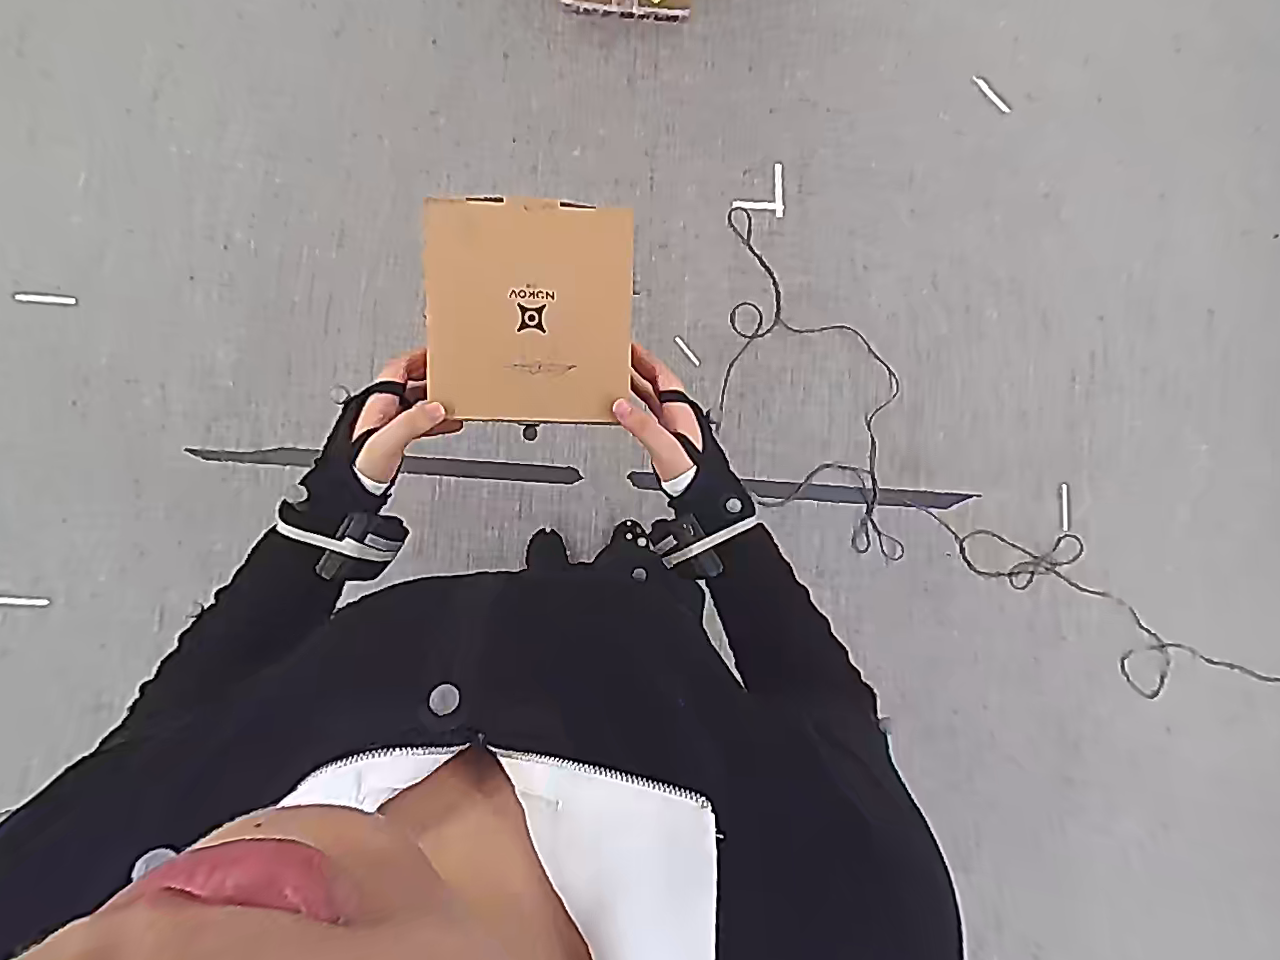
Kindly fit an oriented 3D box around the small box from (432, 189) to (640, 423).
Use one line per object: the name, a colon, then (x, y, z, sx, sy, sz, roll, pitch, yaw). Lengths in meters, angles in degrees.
small box: (-0.093, -0.147, 0.519, 0.168, 0.176, 0.179, 1, 95, -6)
